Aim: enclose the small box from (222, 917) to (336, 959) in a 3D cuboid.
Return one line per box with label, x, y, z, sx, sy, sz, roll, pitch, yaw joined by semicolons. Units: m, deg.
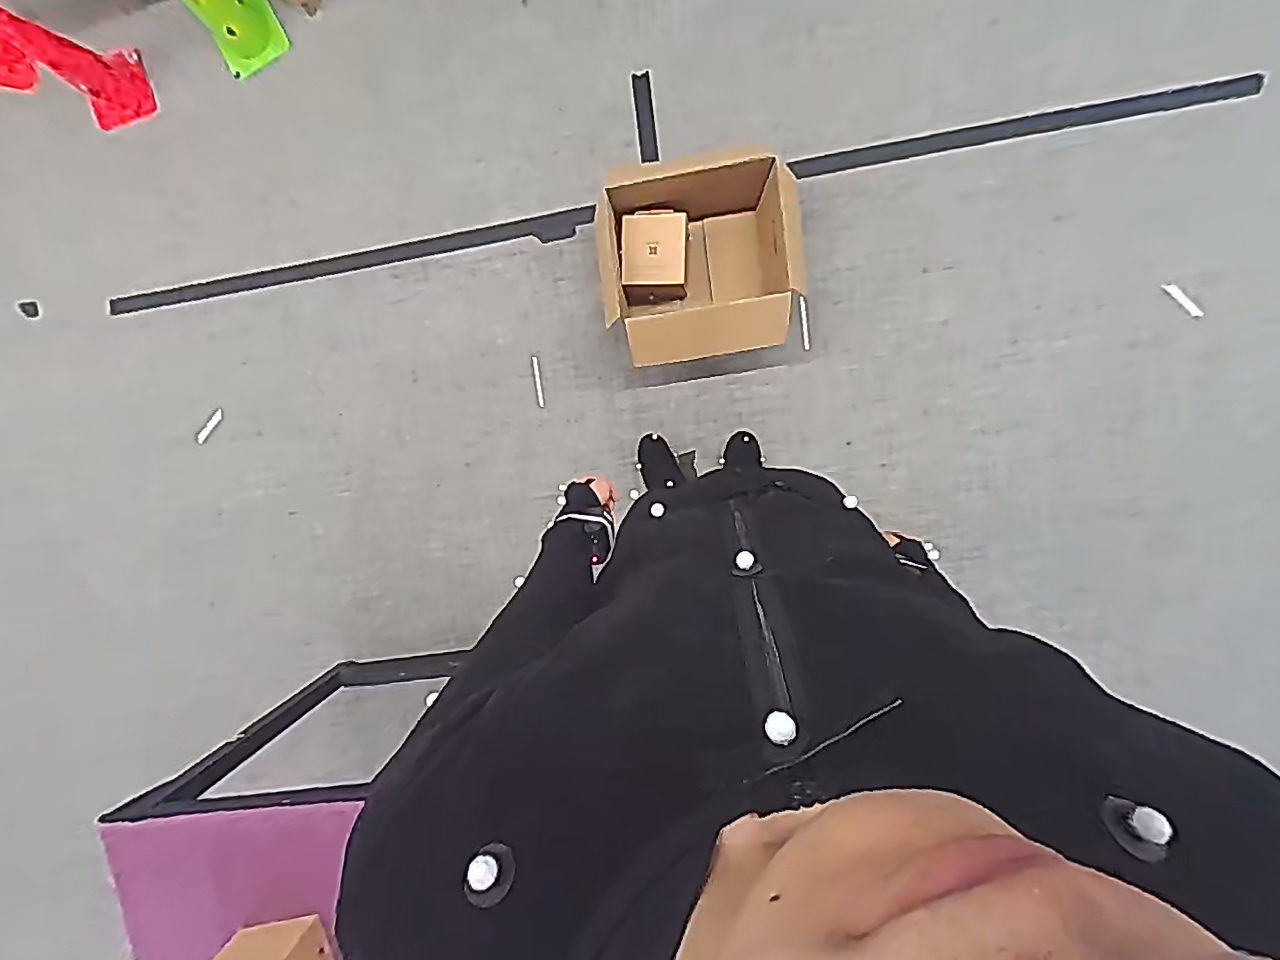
small box;-0.685;0.950;0.992;0.179;0.176;0.168;-14;95;6
